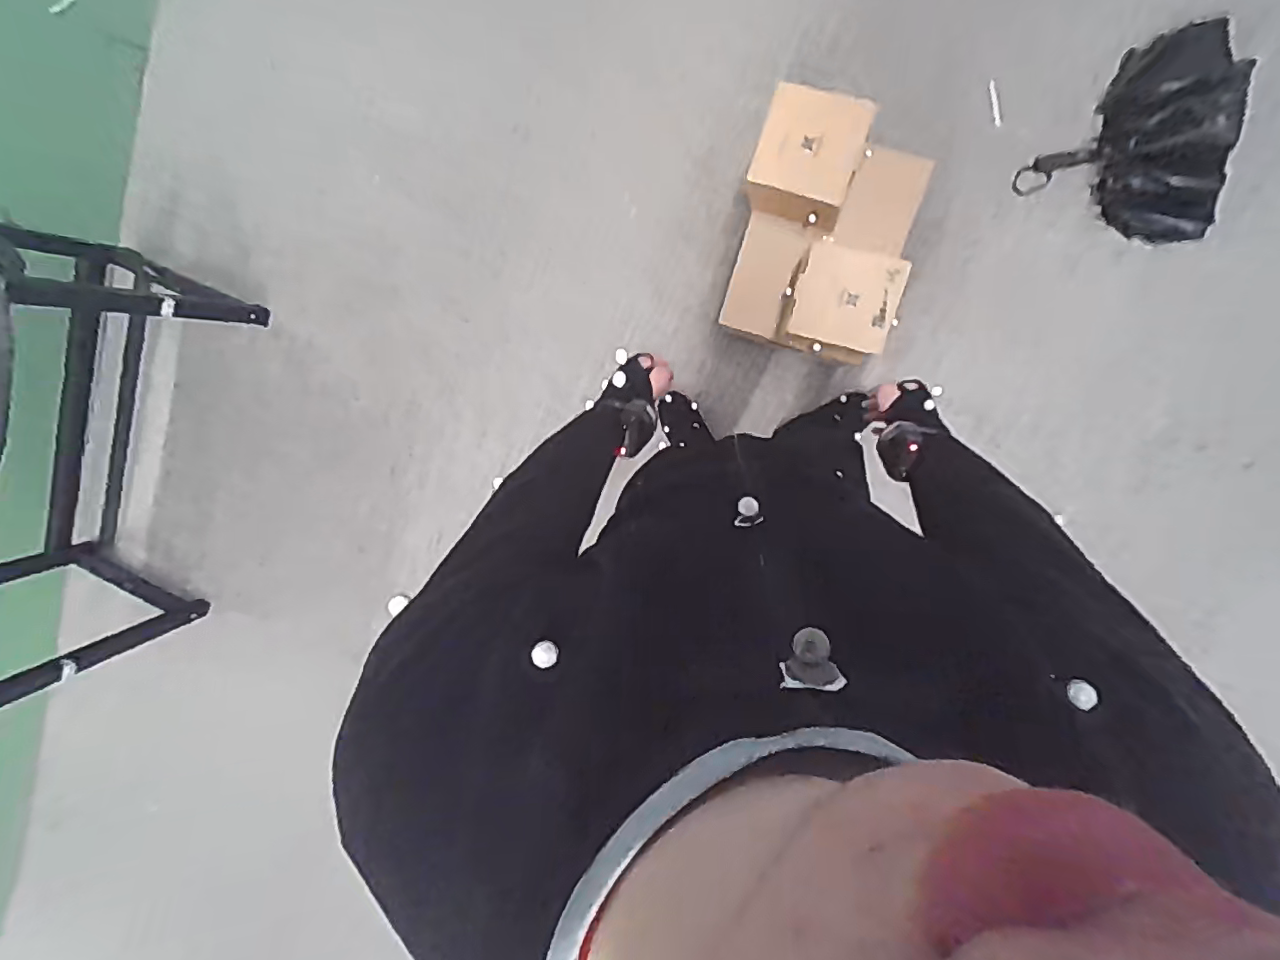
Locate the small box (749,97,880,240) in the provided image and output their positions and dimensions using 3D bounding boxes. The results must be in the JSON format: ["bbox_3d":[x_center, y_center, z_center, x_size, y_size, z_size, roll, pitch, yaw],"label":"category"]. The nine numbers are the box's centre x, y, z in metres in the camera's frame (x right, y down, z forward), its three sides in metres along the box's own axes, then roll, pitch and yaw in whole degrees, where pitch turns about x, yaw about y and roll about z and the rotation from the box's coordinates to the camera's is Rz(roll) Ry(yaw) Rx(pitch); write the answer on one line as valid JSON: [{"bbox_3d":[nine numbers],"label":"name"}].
[{"bbox_3d":[0.322,-0.571,1.016,0.179,0.176,0.168,21,103,12],"label":"small box"}]

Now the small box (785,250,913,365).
[{"bbox_3d":[0.388,-0.322,1.043,0.179,0.176,0.168,17,103,8],"label":"small box"}]
